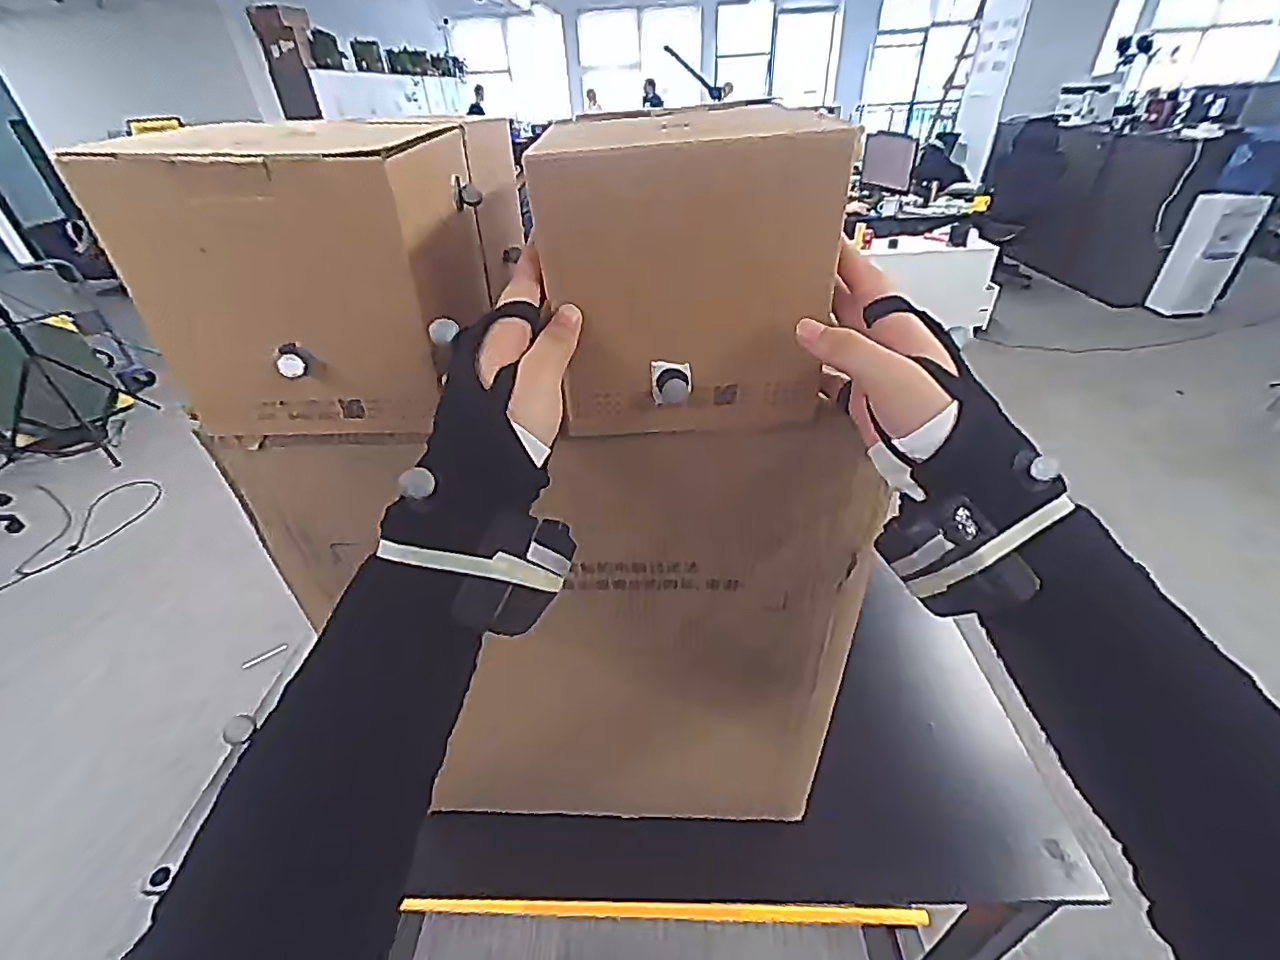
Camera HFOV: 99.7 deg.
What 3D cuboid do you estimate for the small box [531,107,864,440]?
[{"bbox_3d":[0.030,-0.146,0.375,0.168,0.176,0.179,-6,38,1],"label":"small box"}]
